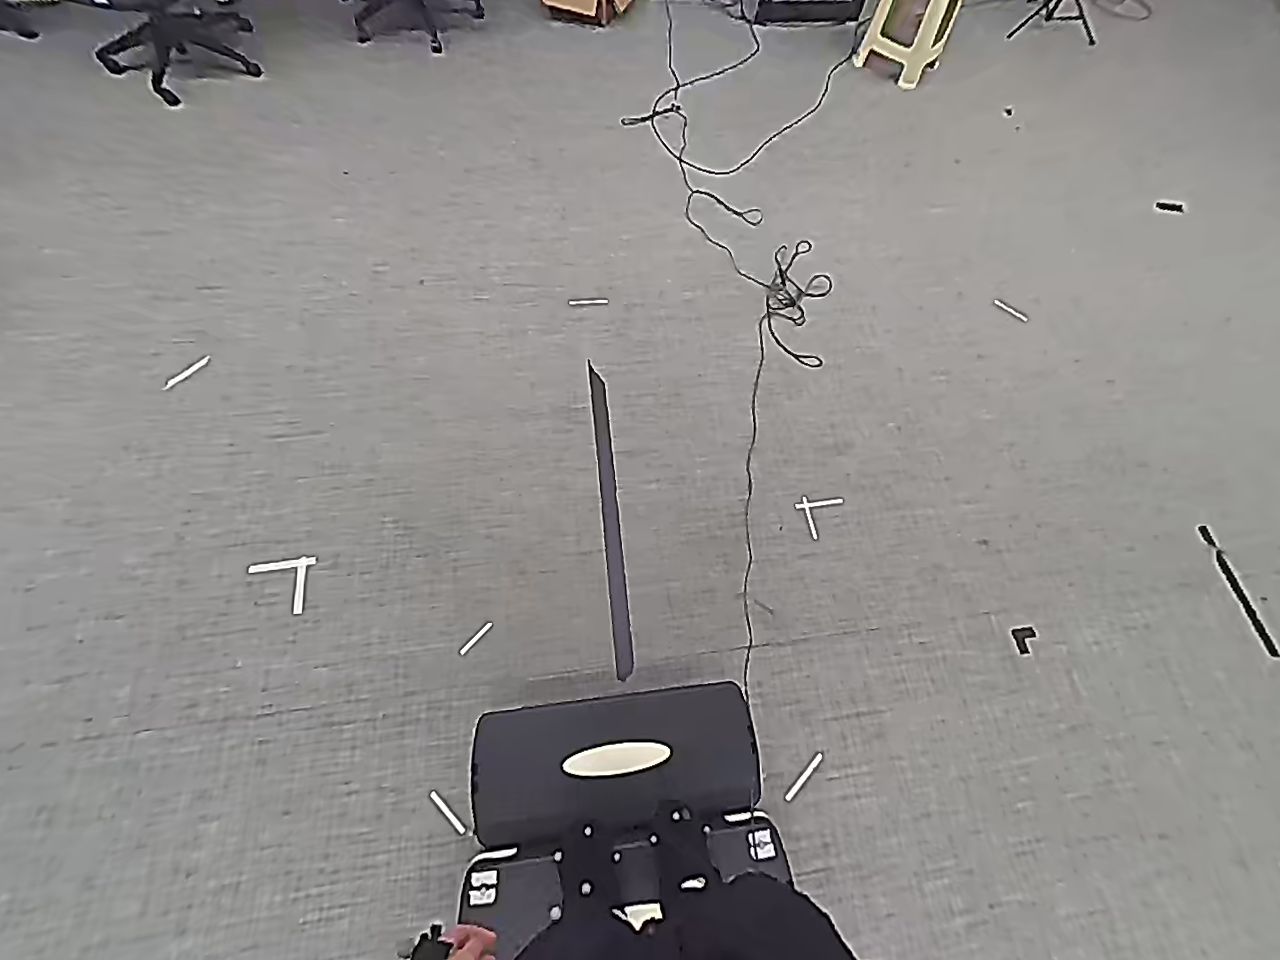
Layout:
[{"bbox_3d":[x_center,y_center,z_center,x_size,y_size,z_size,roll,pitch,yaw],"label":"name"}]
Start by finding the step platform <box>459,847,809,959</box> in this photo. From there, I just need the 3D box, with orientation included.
[{"bbox_3d":[-0.011,0.943,1.093,0.684,0.204,0.286,-2,62,-3],"label":"step platform"}]
